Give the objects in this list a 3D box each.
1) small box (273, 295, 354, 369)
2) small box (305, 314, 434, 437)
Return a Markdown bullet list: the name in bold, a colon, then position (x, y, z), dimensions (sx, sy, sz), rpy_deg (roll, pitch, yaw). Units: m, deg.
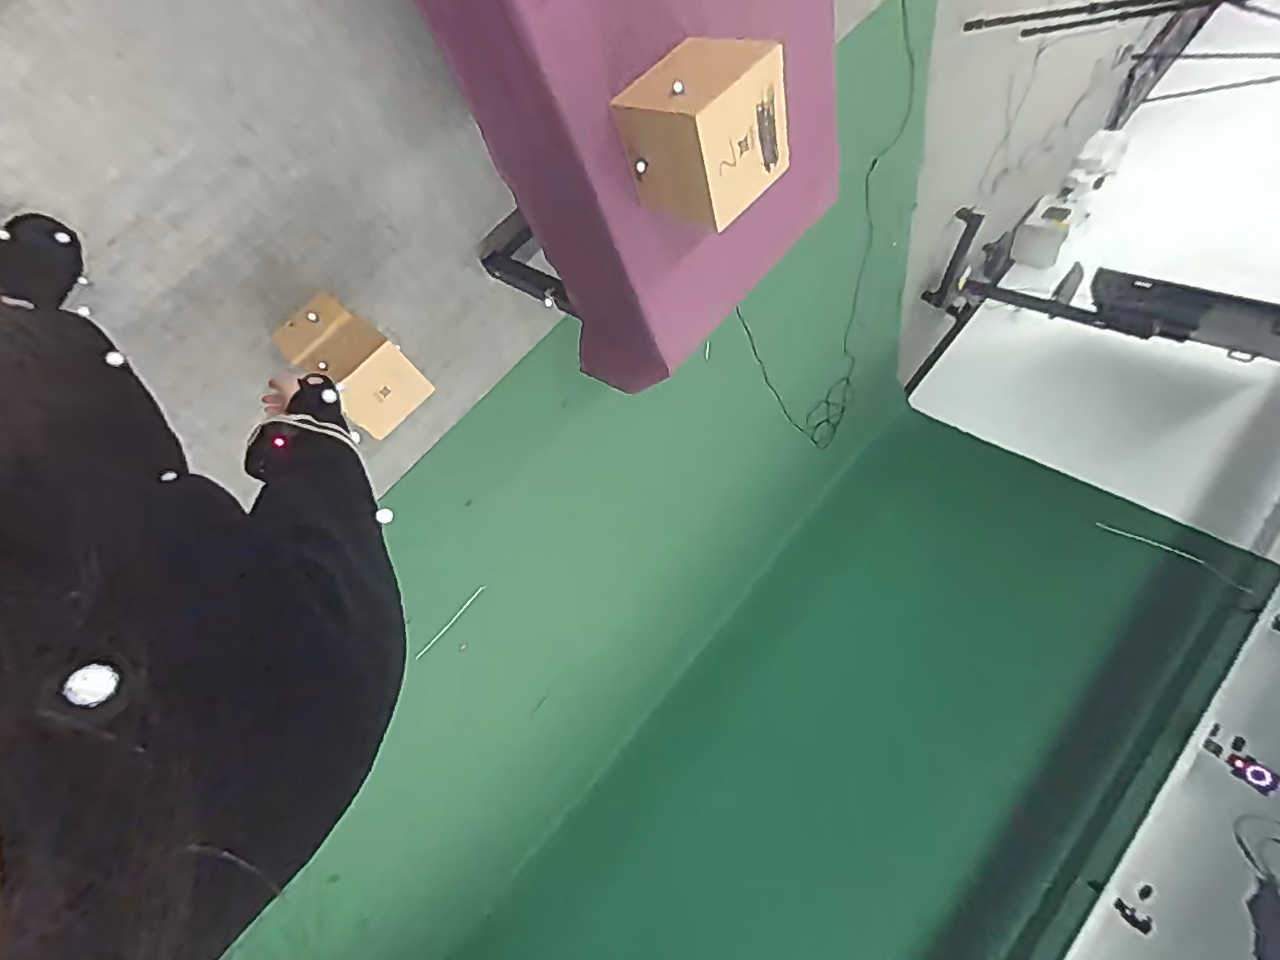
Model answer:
- **small box**: position (-0.721, -0.315, 1.282), dimensions (0.168, 0.176, 0.179), rpy_deg (-49, 147, -9)
- **small box**: position (-0.605, -0.234, 1.201), dimensions (0.179, 0.176, 0.168), rpy_deg (-48, 148, -11)
